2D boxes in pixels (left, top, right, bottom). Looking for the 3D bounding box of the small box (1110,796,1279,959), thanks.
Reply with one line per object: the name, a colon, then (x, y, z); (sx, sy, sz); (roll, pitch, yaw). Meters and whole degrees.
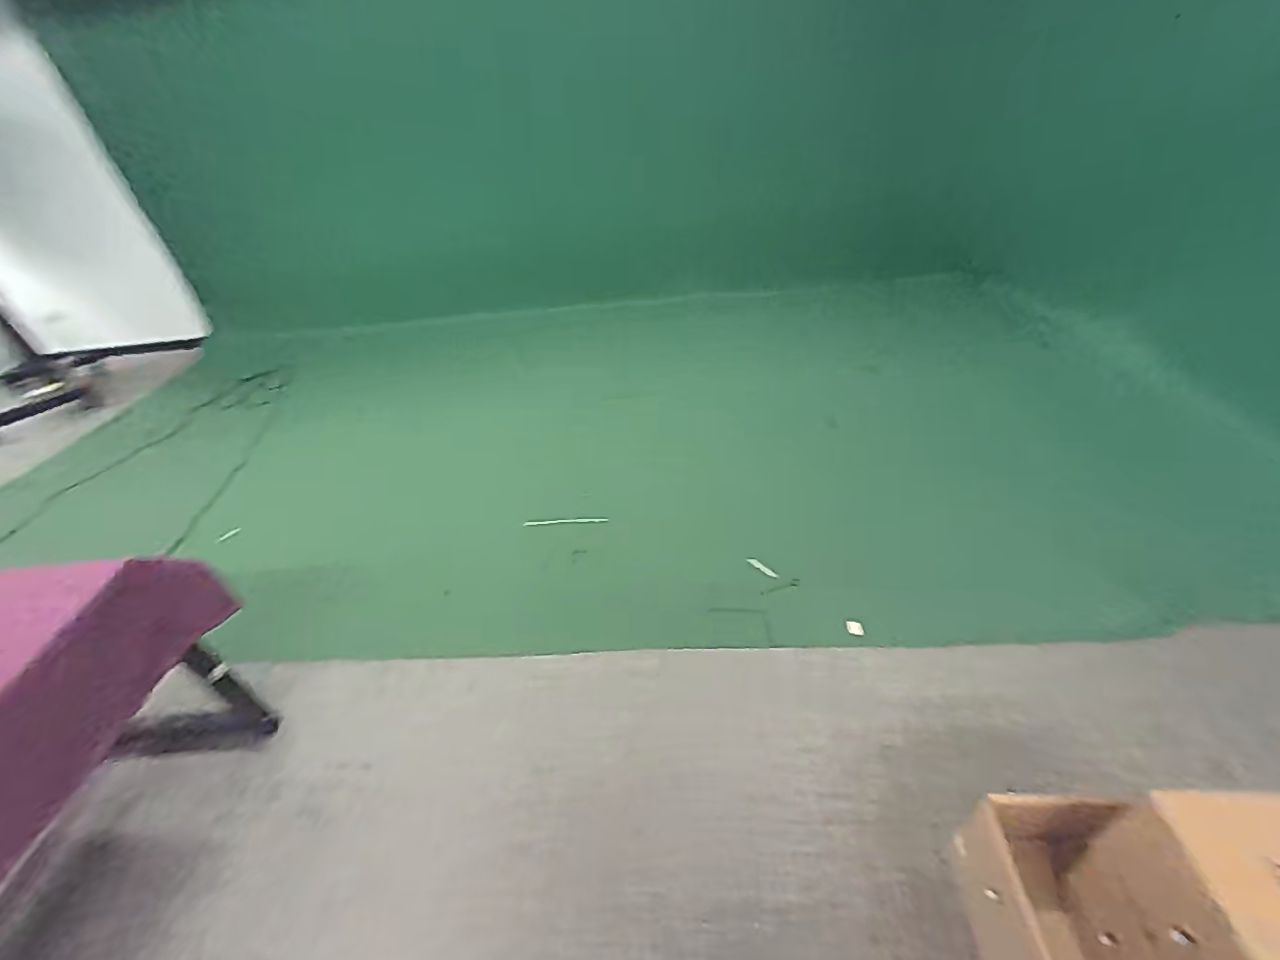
small box: (0.671, 0.472, 0.593); (0.179, 0.176, 0.168); (-1, 39, 7)
